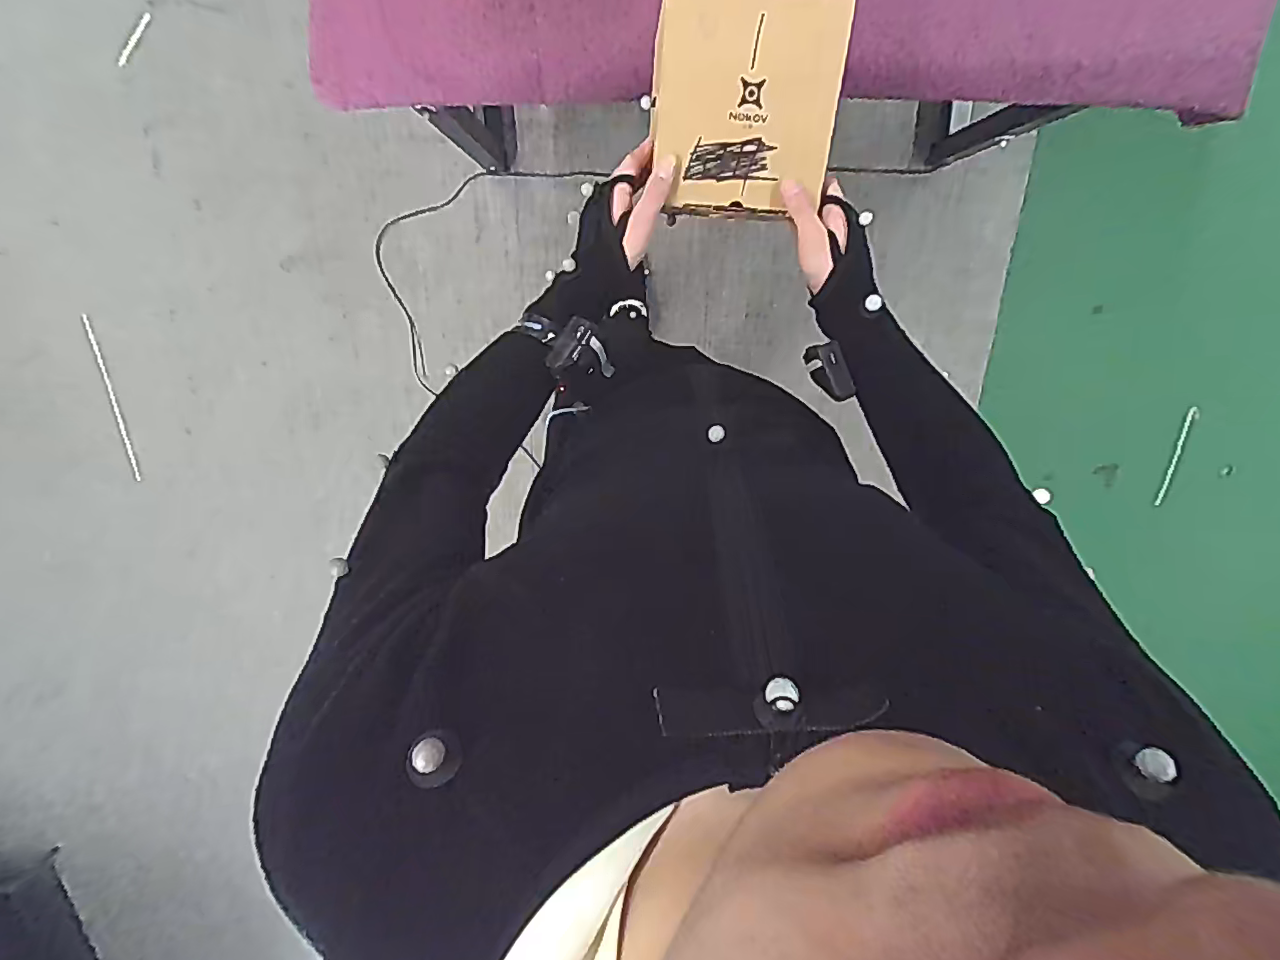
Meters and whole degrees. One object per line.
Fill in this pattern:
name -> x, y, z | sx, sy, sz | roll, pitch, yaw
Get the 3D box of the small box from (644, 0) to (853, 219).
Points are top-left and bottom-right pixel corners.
small box -> 0.093, -0.376, 0.563 | 0.168, 0.176, 0.179 | 3, 113, -3
